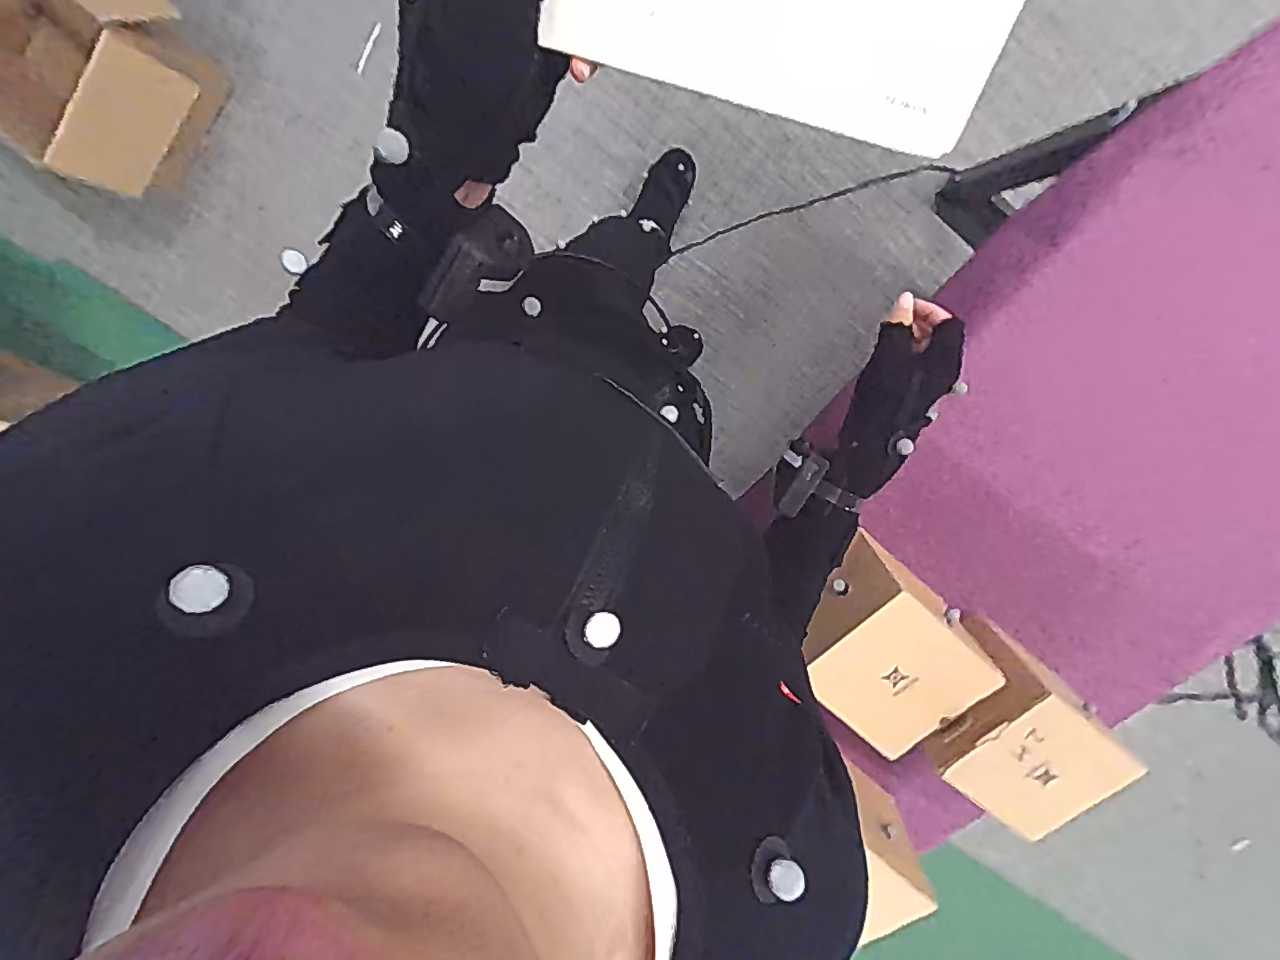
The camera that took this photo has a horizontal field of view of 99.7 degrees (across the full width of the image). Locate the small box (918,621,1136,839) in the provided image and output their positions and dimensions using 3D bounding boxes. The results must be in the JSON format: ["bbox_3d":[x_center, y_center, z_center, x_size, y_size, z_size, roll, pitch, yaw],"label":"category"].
[{"bbox_3d":[0.485,0.327,0.732,0.179,0.176,0.168,38,108,-9],"label":"small box"}]

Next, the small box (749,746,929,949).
[{"bbox_3d":[0.290,0.553,0.828,0.179,0.176,0.168,42,107,-12],"label":"small box"}]

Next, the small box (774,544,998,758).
[{"bbox_3d":[0.299,0.206,0.701,0.179,0.176,0.168,41,107,-10],"label":"small box"}]
